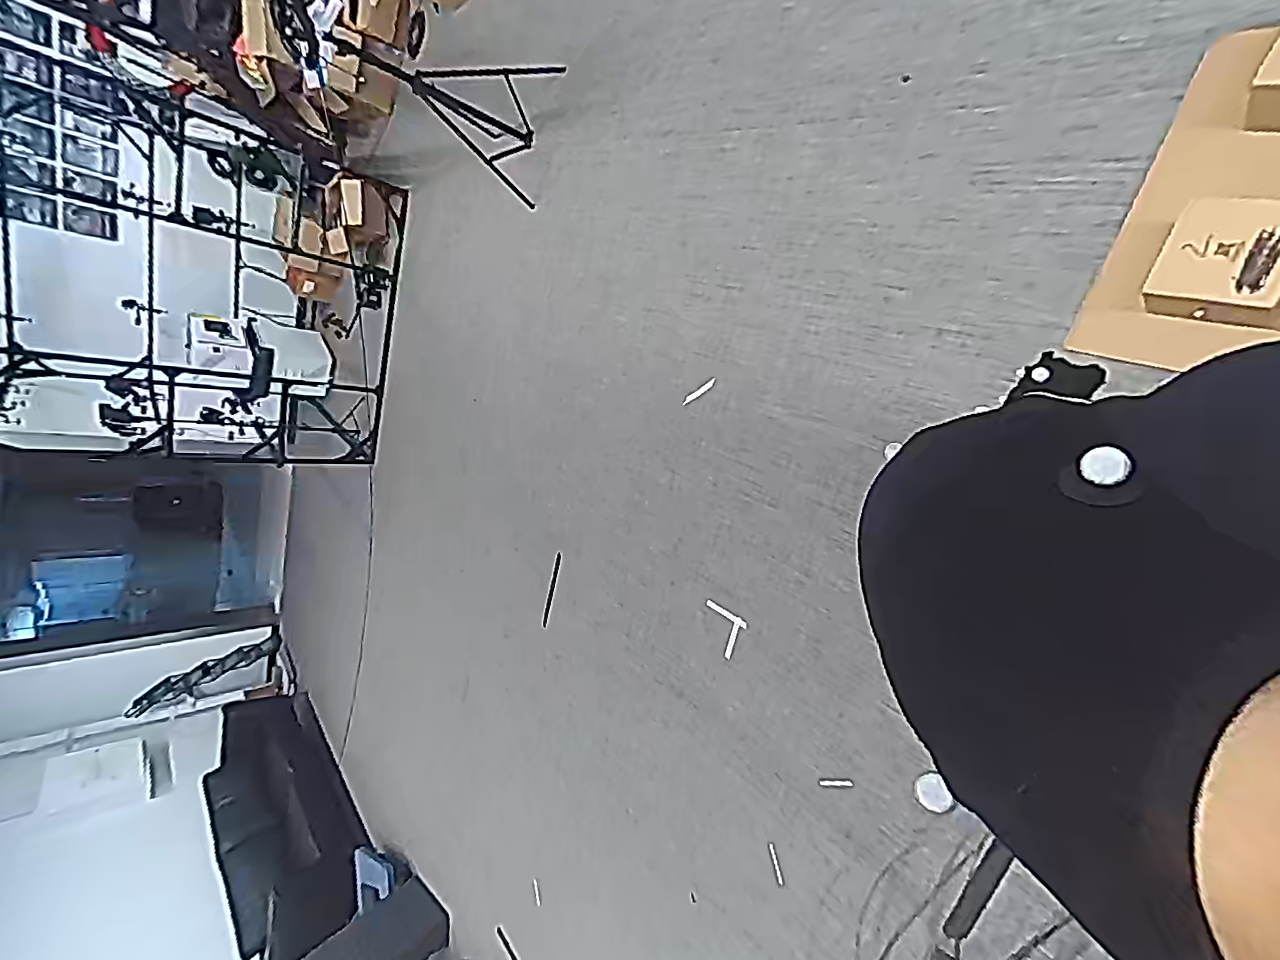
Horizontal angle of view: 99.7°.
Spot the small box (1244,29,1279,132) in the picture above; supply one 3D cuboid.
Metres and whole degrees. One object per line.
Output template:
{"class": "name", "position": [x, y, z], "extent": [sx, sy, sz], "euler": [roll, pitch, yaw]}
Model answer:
{"class": "small box", "position": [1.143, -0.686, 0.876], "extent": [0.179, 0.176, 0.168], "euler": [36, 116, 39]}
